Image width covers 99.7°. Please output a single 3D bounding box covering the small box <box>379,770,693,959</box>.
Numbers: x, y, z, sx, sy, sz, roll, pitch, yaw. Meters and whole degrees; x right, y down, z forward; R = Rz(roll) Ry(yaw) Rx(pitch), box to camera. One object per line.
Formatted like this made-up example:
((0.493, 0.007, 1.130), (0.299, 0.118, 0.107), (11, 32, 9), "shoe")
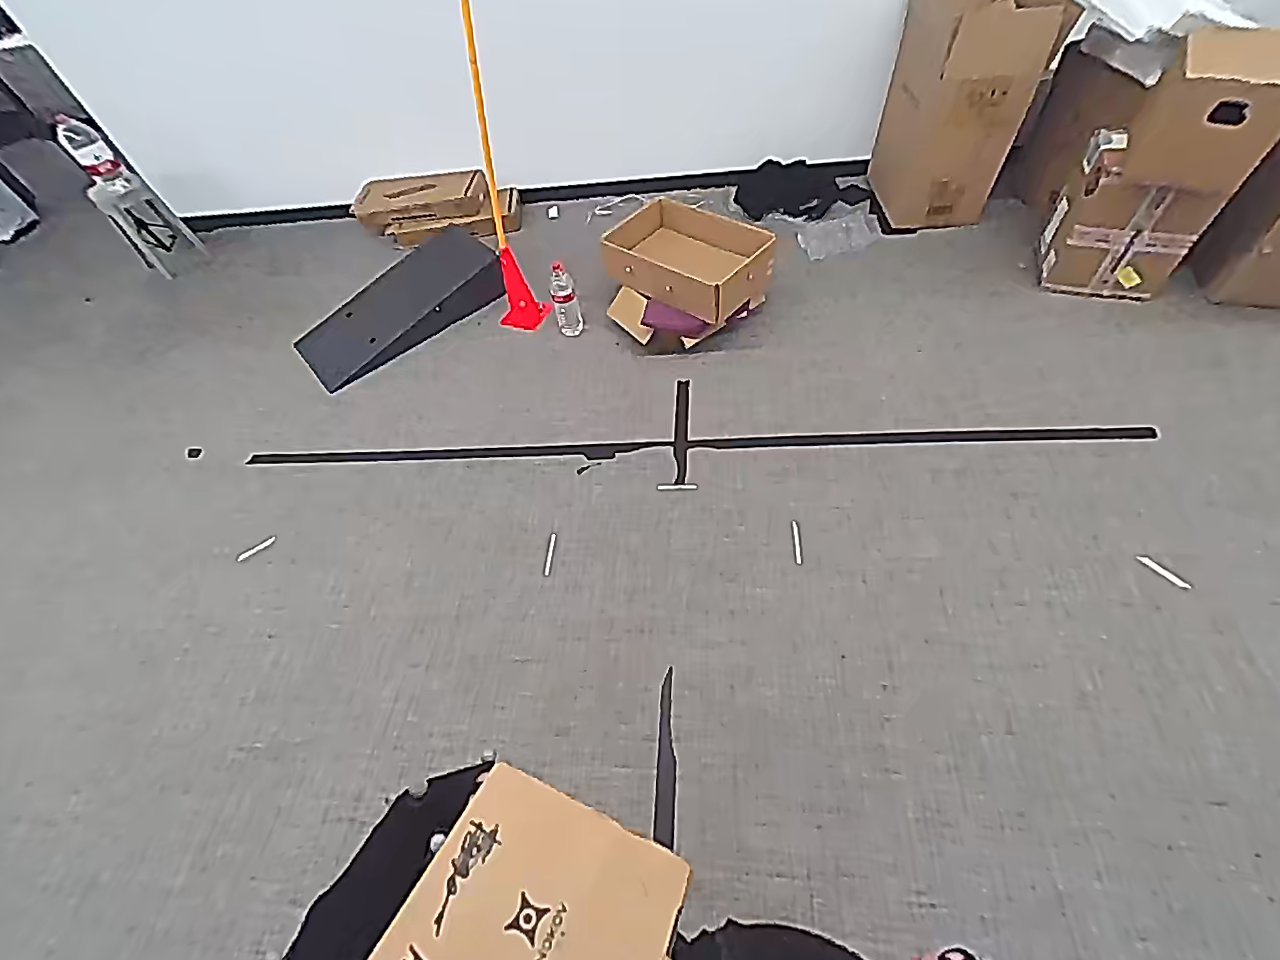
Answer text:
((-0.083, 0.372, 0.413), (0.179, 0.176, 0.168), (22, 35, 12), "small box")
